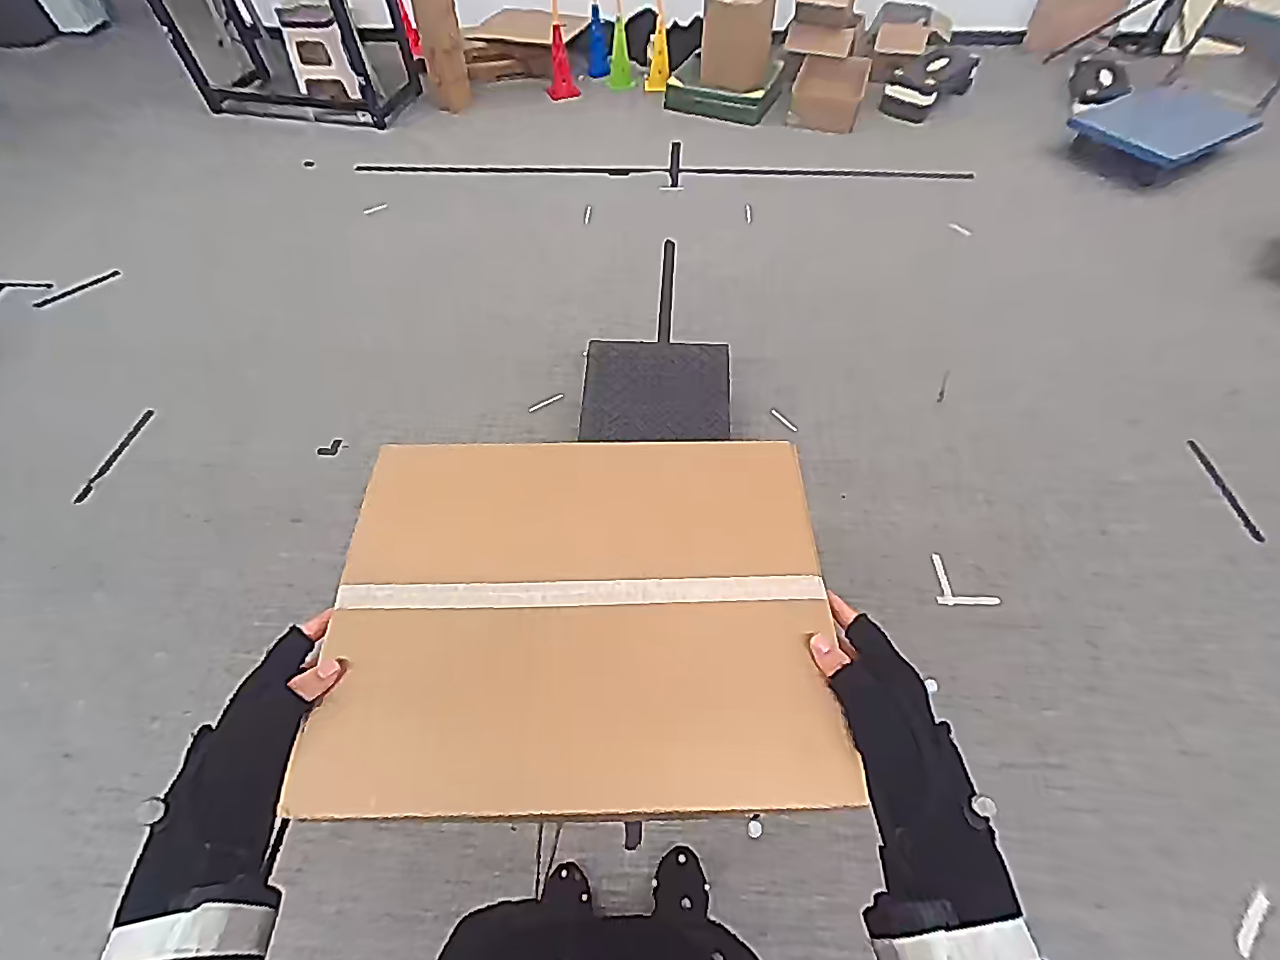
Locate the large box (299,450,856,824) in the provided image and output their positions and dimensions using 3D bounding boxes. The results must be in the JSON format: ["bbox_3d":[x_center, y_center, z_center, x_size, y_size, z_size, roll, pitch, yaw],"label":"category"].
[{"bbox_3d":[-0.046,0.181,0.586,0.408,0.320,0.320,0,57,-2],"label":"large box"}]
